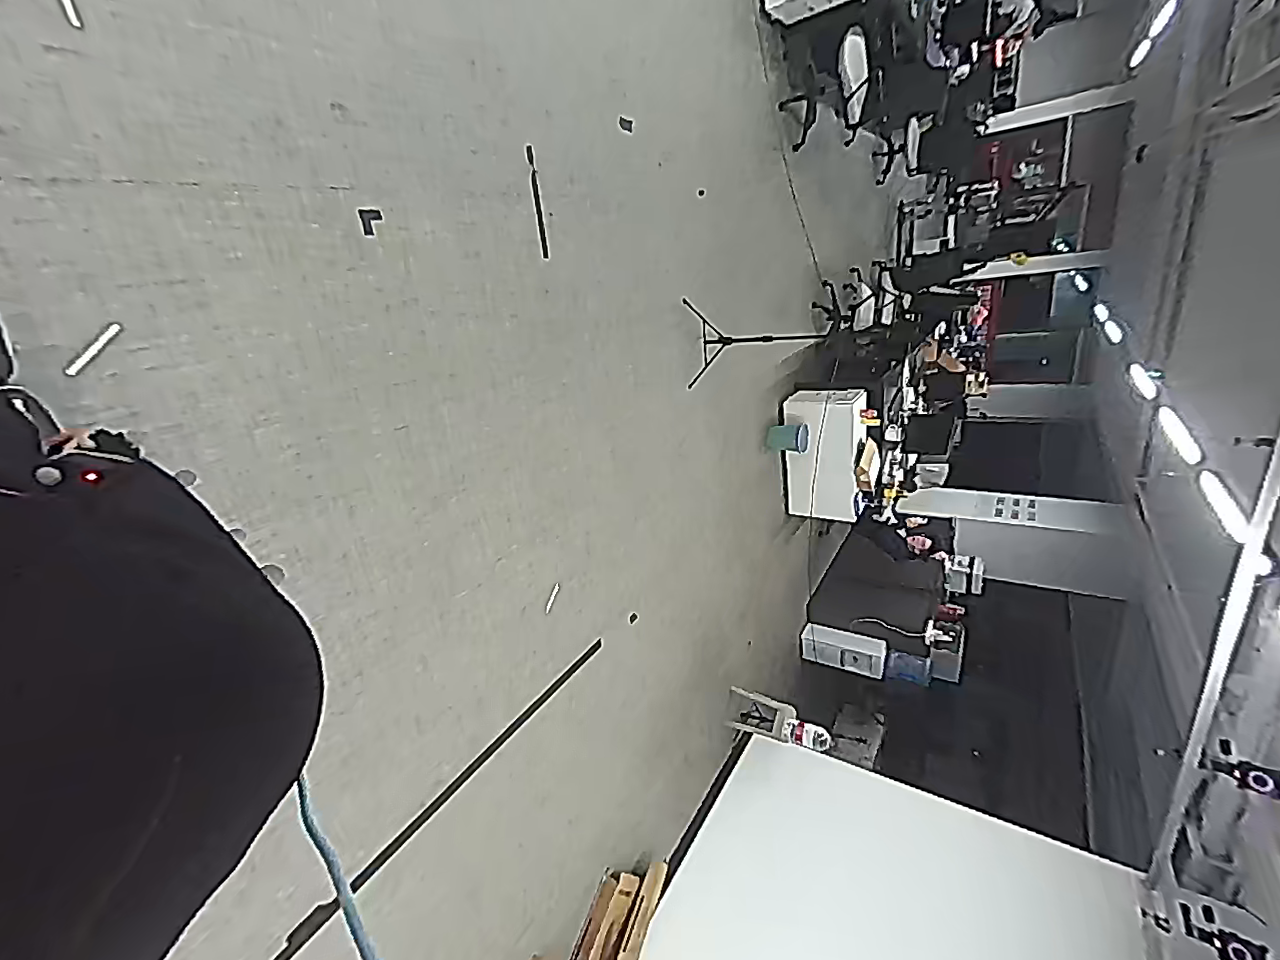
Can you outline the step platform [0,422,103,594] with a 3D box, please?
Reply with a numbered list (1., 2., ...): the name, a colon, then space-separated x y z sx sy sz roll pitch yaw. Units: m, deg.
1. step platform: -1.295 0.111 0.814 0.684 0.204 0.286 -26 114 -50
